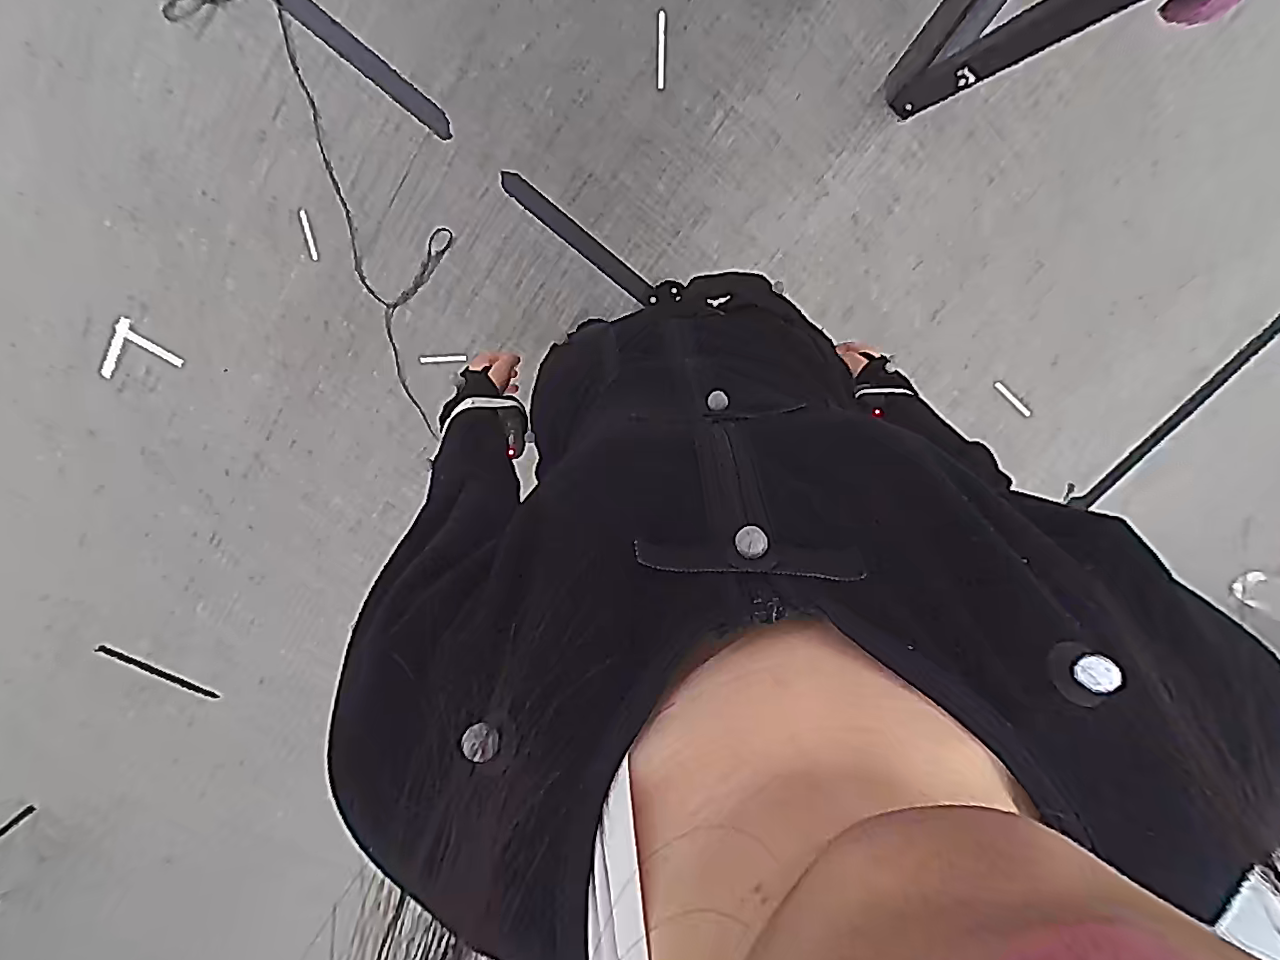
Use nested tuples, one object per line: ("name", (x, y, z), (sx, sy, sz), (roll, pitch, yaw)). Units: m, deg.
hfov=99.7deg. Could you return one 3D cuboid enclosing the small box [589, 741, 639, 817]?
("small box", (-0.091, 1.028, 1.874), (0.168, 0.176, 0.179), (-1, 113, -2))
